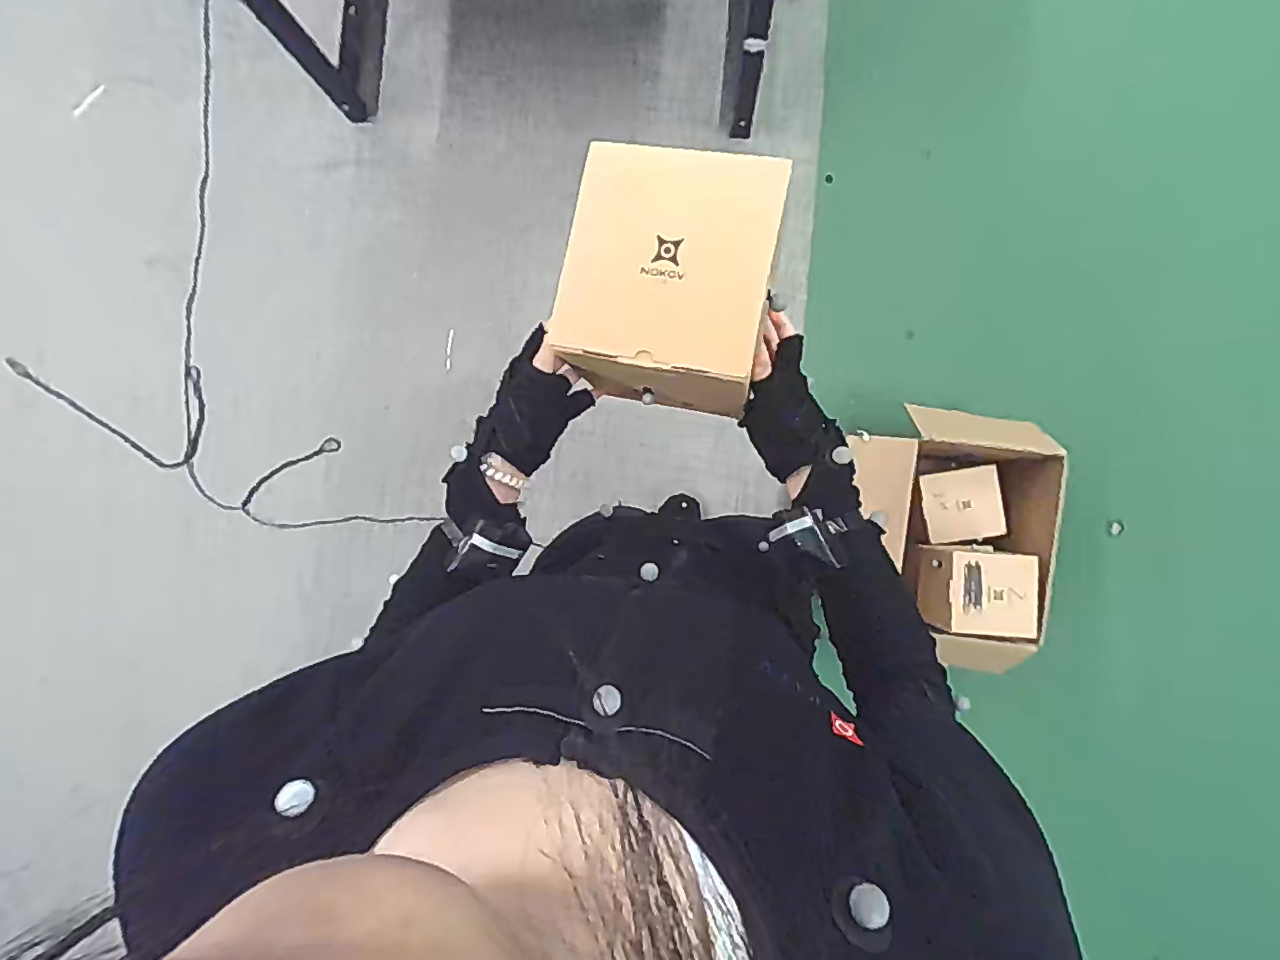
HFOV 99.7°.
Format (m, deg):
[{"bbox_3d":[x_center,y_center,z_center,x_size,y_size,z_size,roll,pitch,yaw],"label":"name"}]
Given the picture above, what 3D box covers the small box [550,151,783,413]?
[{"bbox_3d":[0.031,-0.175,0.521,0.168,0.176,0.179,11,90,10],"label":"small box"}]
